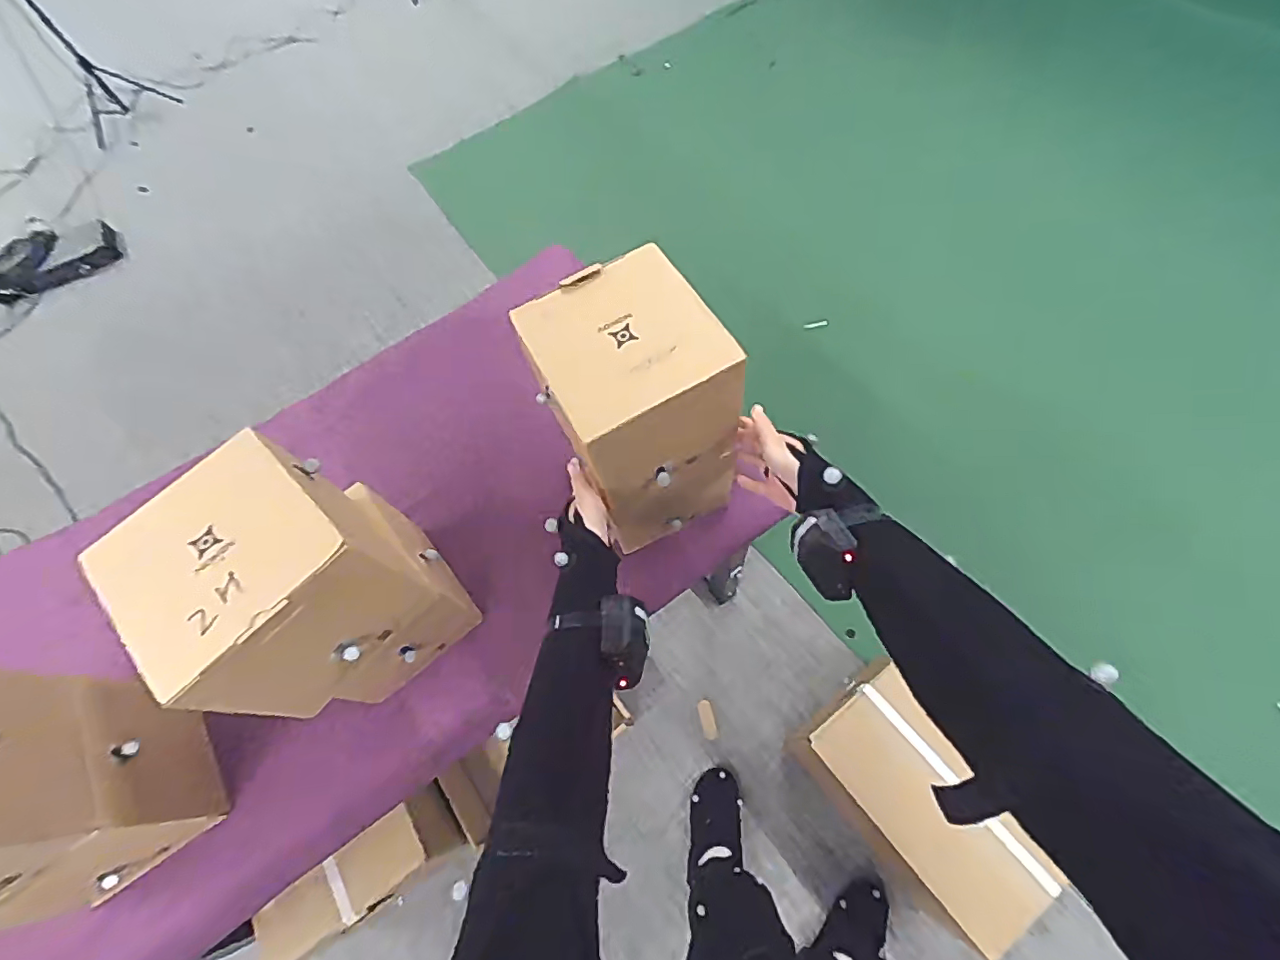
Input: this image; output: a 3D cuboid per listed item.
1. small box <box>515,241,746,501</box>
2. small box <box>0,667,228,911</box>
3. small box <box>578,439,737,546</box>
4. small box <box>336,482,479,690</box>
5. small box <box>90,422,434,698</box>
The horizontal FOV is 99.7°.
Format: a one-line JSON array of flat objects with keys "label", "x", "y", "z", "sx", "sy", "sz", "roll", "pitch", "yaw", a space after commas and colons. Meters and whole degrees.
[{"label": "small box", "x": -0.008, "y": -0.108, "z": 0.576, "sx": 0.168, "sy": 0.176, "sz": 0.179, "roll": -28, "pitch": 65, "yaw": -7}, {"label": "small box", "x": -0.615, "y": 0.340, "z": 0.603, "sx": 0.168, "sy": 0.176, "sz": 0.179, "roll": -34, "pitch": 66, "yaw": -11}, {"label": "small box", "x": 0.011, "y": -0.039, "z": 0.722, "sx": 0.168, "sy": 0.176, "sz": 0.179, "roll": -25, "pitch": 65, "yaw": -6}, {"label": "small box", "x": -0.331, "y": 0.140, "z": 0.672, "sx": 0.168, "sy": 0.176, "sz": 0.179, "roll": -38, "pitch": 66, "yaw": -13}, {"label": "small box", "x": -0.337, "y": 0.085, "z": 0.514, "sx": 0.179, "sy": 0.176, "sz": 0.168, "roll": 39, "pitch": 74, "yaw": 21}]
